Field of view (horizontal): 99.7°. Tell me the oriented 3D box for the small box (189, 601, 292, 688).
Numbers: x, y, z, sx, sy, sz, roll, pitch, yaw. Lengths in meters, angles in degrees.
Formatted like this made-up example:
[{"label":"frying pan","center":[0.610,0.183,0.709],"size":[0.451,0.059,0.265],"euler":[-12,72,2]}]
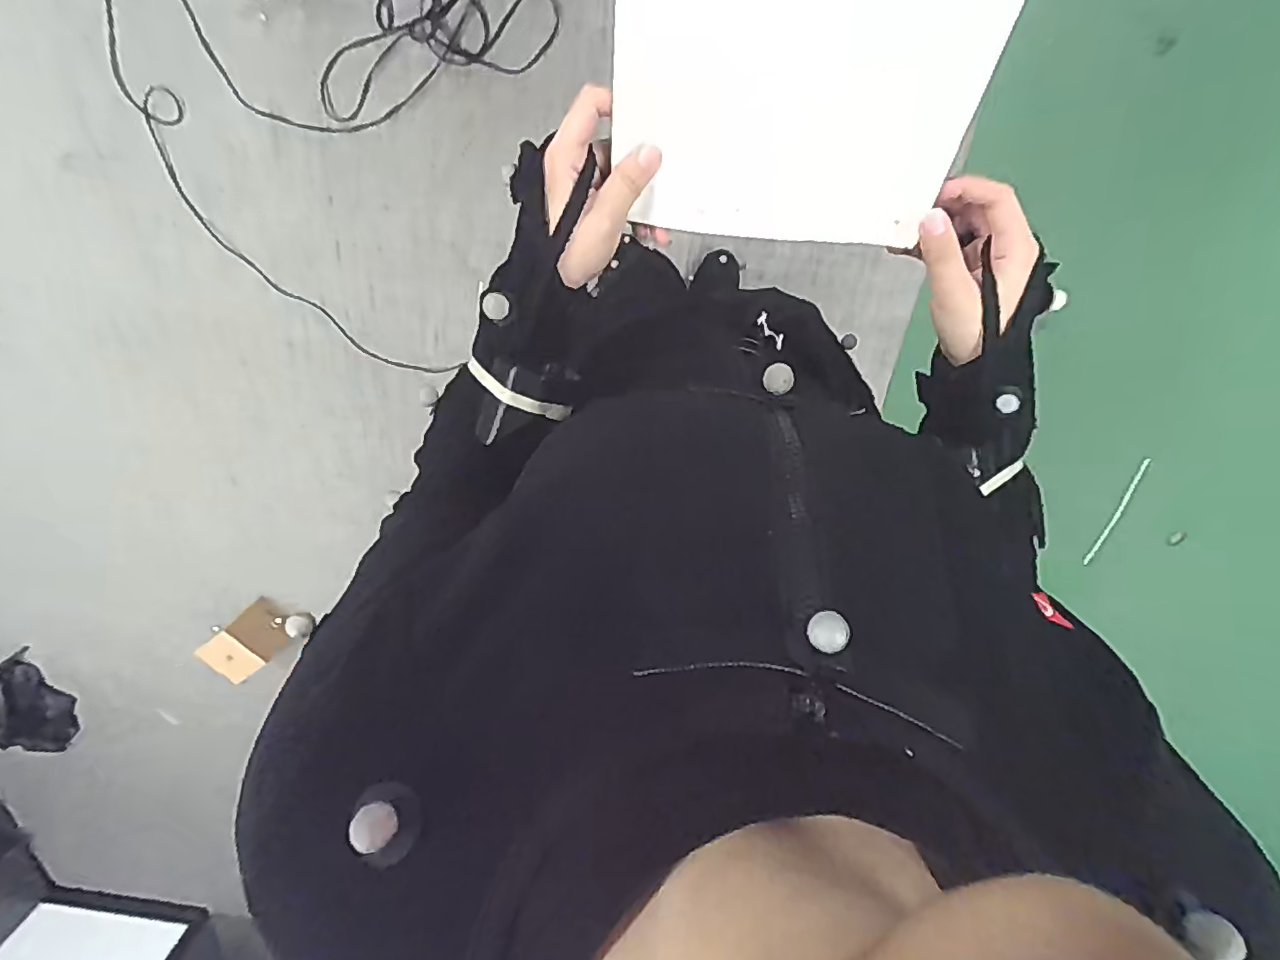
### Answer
[{"label":"small box","center":[-1.275,0.527,1.739],"size":[0.179,0.176,0.168],"euler":[-33,110,18]}]
